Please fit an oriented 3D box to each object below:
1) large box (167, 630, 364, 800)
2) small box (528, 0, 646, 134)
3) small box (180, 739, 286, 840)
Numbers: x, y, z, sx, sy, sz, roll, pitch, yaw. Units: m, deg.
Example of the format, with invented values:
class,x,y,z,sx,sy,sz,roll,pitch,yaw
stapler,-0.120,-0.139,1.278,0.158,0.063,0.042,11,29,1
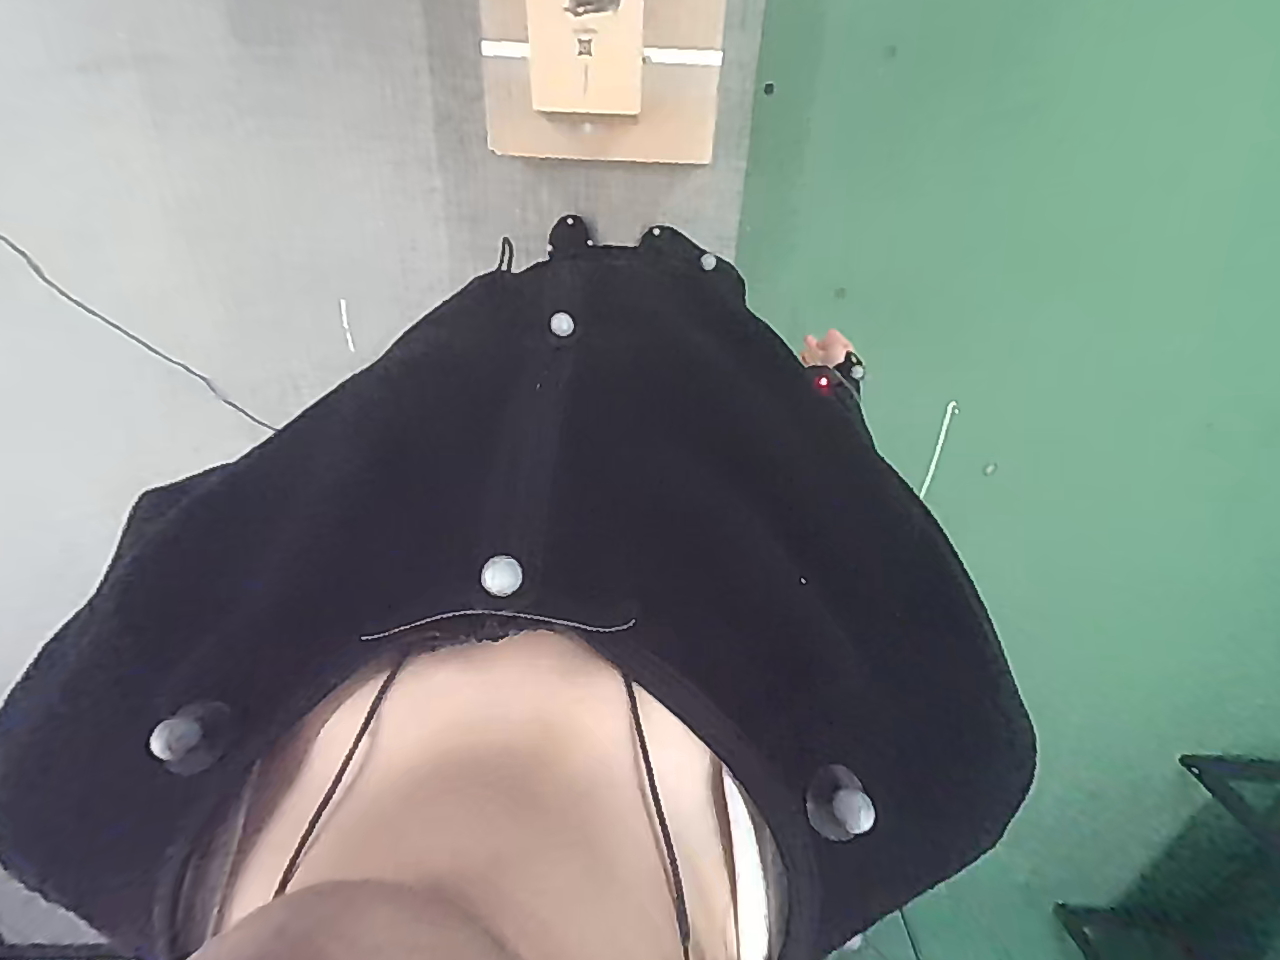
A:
class,x,y,z,sx,sy,sz,roll,pitch,yaw
large box,-1.227,0.778,1.807,0.408,0.320,0.320,31,112,-12
small box,-0.077,-0.654,0.842,0.168,0.176,0.179,2,118,-1
small box,-1.195,0.912,1.601,0.168,0.176,0.179,34,112,-15
